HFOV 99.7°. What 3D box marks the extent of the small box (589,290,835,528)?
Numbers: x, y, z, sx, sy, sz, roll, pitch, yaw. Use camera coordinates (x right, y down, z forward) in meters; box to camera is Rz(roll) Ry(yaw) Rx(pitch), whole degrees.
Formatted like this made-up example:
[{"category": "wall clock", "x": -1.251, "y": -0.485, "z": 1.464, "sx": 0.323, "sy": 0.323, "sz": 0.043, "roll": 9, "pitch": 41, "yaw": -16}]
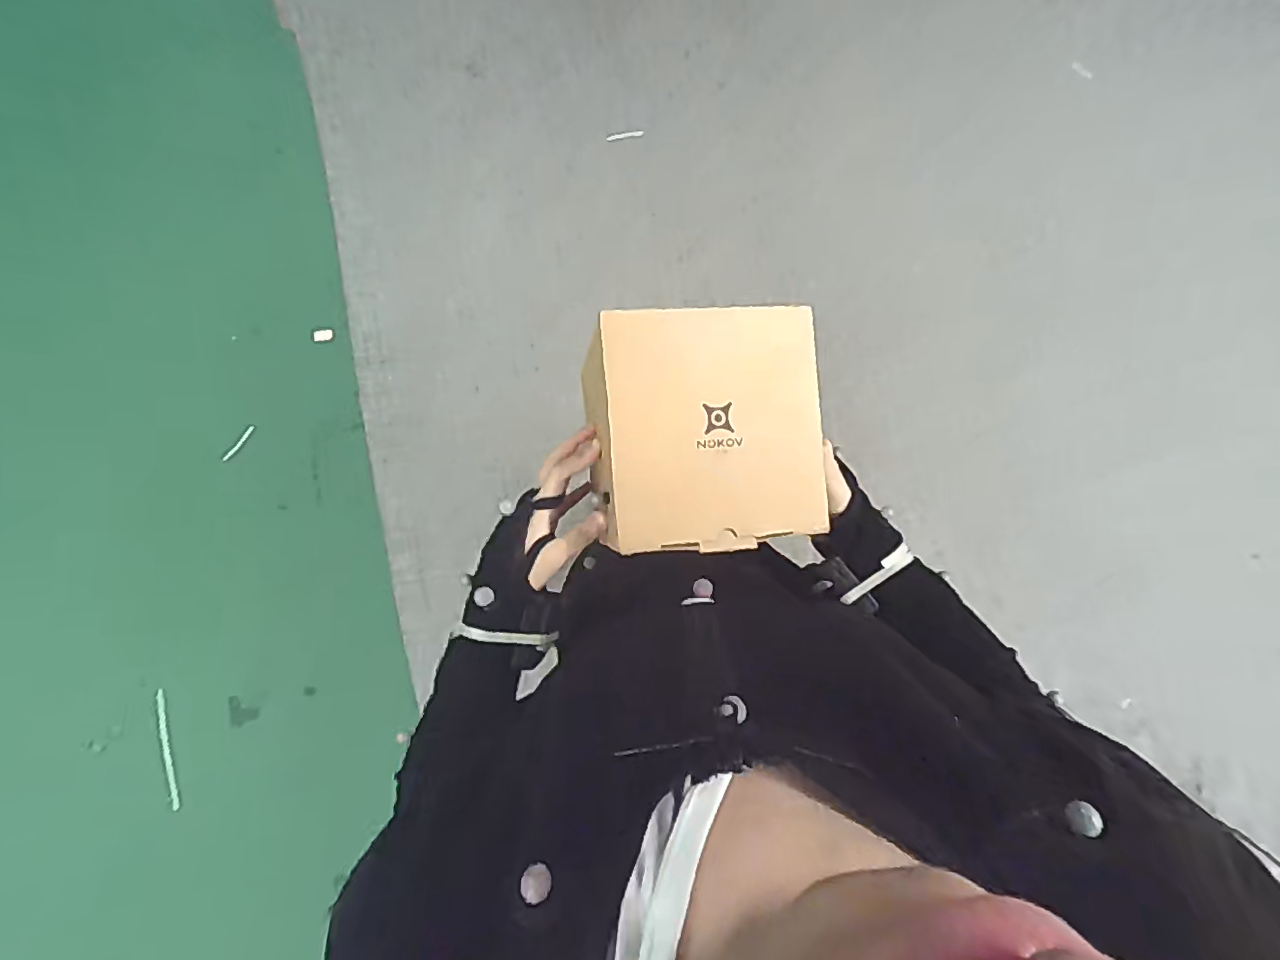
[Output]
[{"category": "small box", "x": 0.049, "y": -0.052, "z": 0.481, "sx": 0.168, "sy": 0.176, "sz": 0.179, "roll": -4, "pitch": 89, "yaw": -11}]
